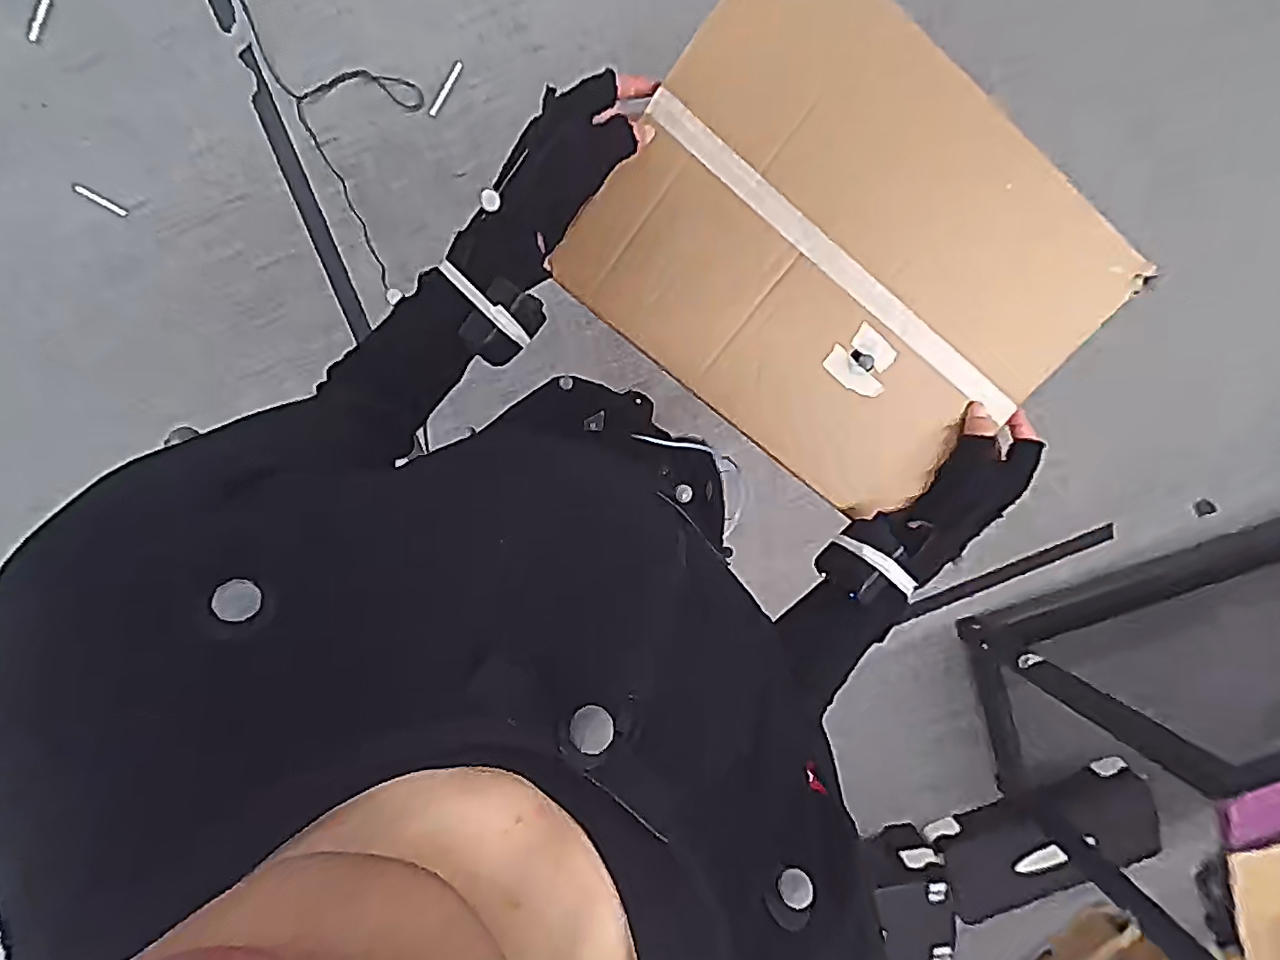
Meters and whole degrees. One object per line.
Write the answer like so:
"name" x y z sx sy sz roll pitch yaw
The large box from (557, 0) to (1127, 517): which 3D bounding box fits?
"large box" 0.174 -0.234 0.611 0.408 0.320 0.320 37 106 -10
